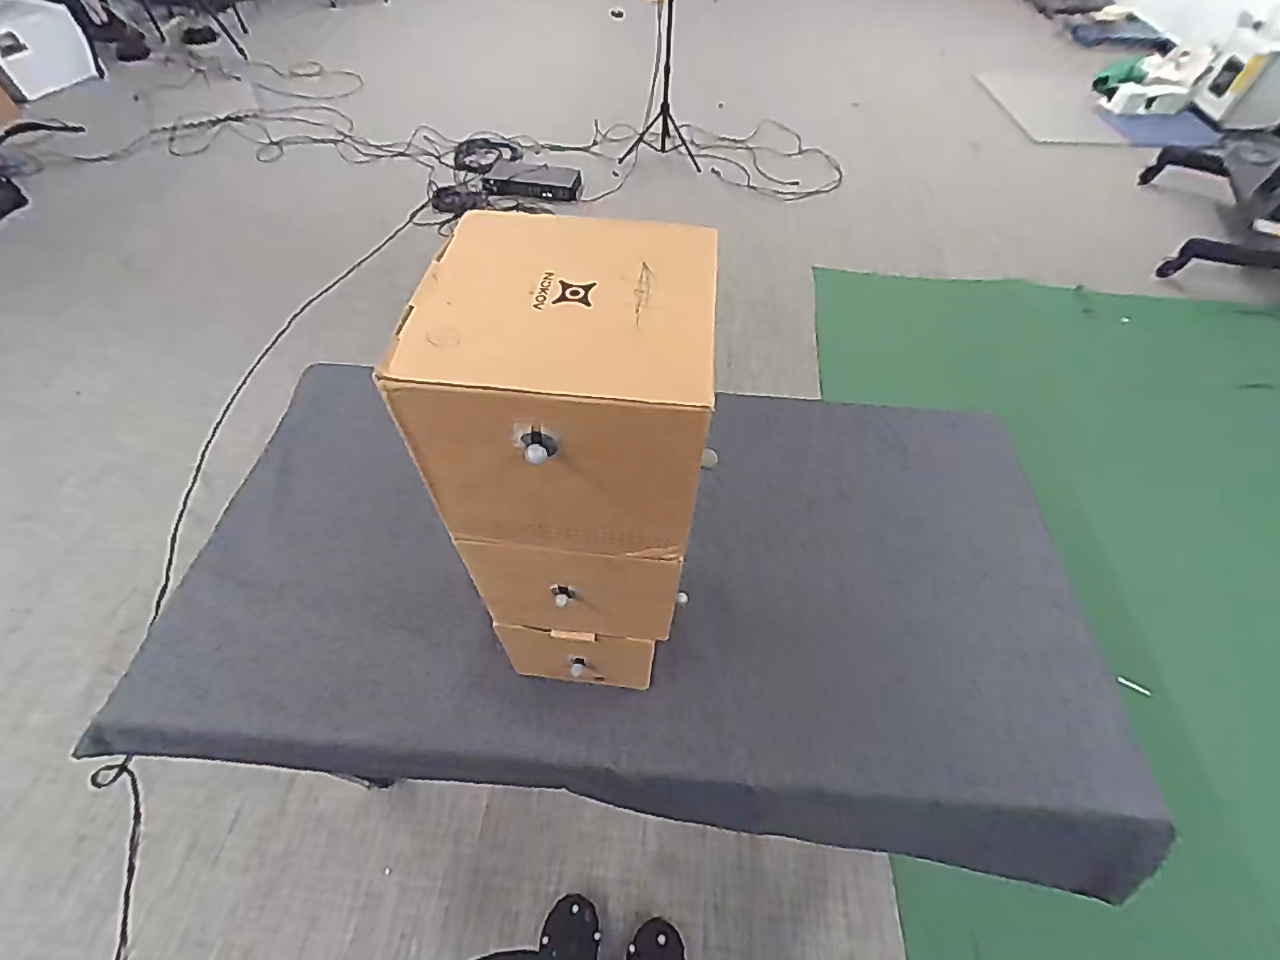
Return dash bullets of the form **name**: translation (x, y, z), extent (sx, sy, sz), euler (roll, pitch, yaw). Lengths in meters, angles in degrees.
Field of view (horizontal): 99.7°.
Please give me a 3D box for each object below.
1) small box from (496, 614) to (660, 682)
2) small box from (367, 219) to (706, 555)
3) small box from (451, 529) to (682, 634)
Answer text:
- **small box**: translation (-0.056, 0.130, 0.650), extent (0.168, 0.176, 0.179), euler (4, 54, 3)
- **small box**: translation (-0.049, -0.059, 0.384), extent (0.179, 0.176, 0.168), euler (4, 55, 2)
- **small box**: translation (-0.050, 0.037, 0.515), extent (0.179, 0.176, 0.168), euler (4, 54, 4)
